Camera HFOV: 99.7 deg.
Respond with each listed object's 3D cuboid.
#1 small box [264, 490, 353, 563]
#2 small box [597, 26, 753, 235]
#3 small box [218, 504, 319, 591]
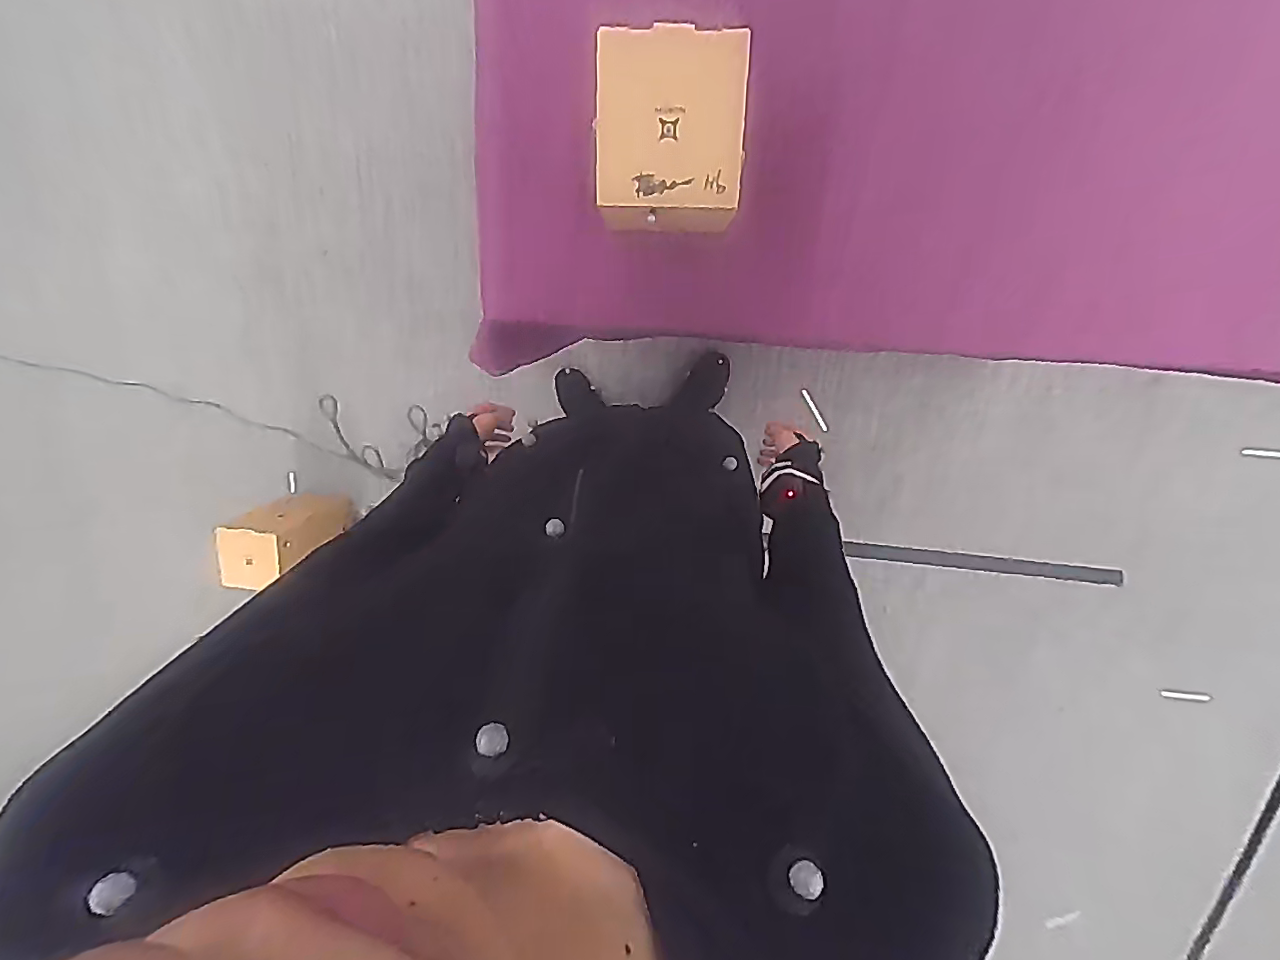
[{"bbox_3d":[-1.013,0.137,1.658,0.179,0.176,0.168,6,108,1],"label":"small box"},{"bbox_3d":[0.039,-0.418,0.675,0.168,0.176,0.179,3,106,3],"label":"small box"},{"bbox_3d":[-1.022,0.183,1.503,0.168,0.176,0.179,7,107,1],"label":"small box"}]
